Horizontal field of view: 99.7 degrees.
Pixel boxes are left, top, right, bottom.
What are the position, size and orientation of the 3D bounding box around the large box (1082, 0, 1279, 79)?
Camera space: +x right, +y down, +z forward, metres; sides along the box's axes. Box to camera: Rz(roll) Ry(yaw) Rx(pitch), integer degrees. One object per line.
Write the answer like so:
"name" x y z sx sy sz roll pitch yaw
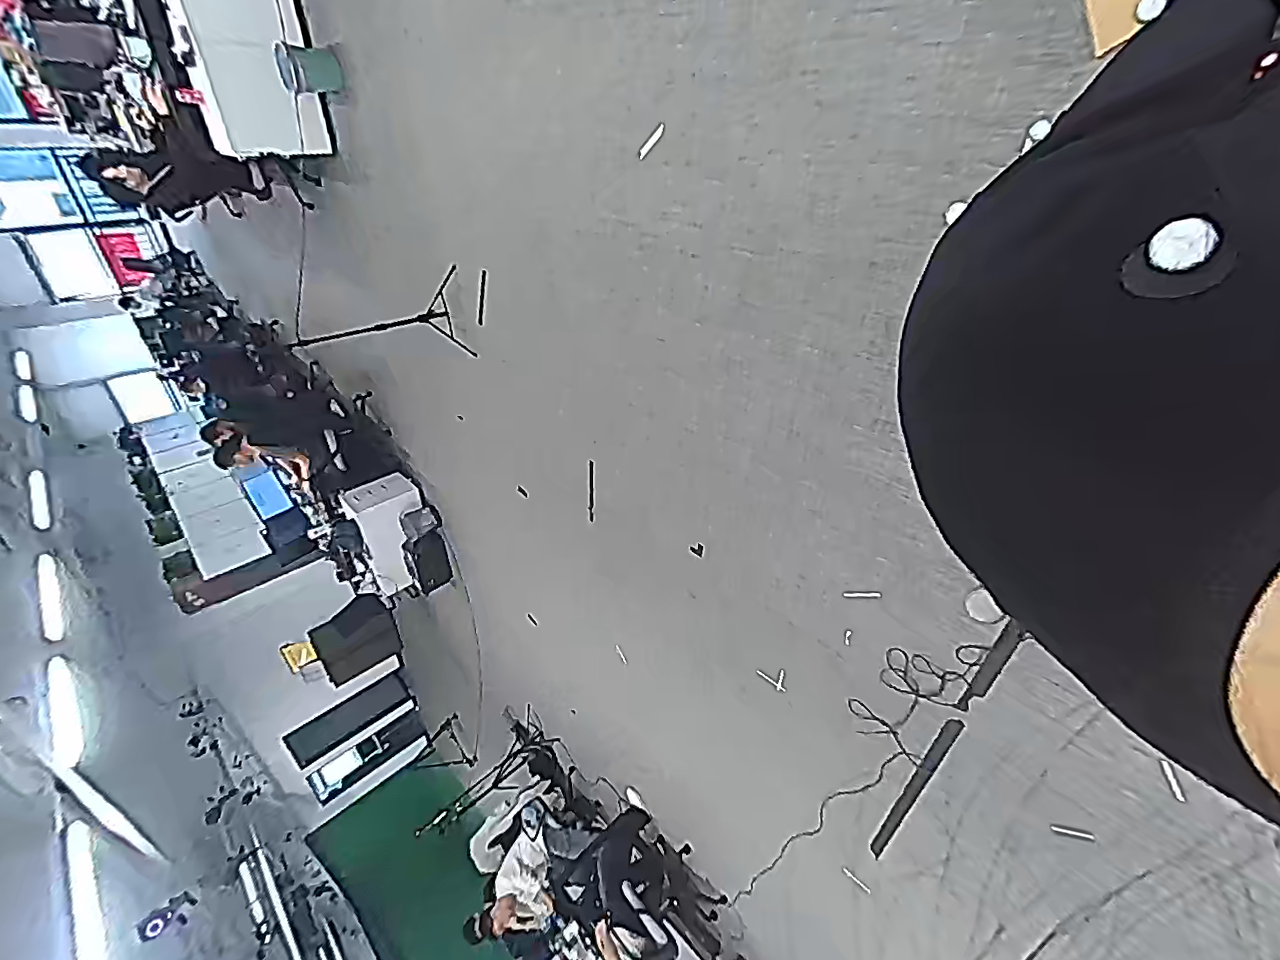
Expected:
"large box" 0.619 -0.619 0.438 0.320 0.408 0.320 7 123 66
